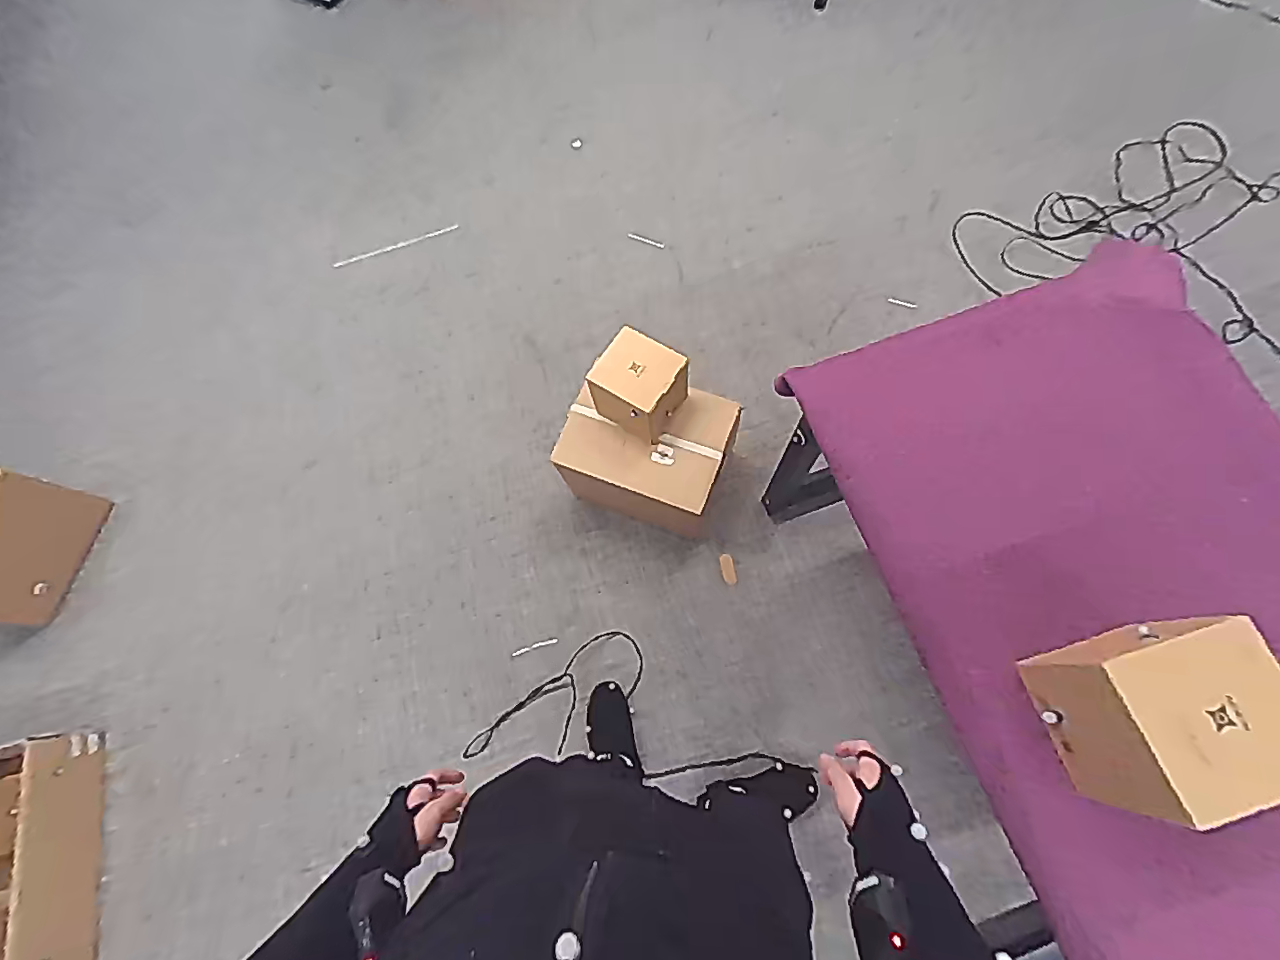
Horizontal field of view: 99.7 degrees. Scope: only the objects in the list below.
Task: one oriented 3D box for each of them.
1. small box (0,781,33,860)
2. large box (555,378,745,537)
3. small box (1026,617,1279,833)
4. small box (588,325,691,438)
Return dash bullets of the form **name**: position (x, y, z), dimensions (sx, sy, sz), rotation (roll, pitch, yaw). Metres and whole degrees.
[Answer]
- **small box**: position (-1.664, 0.864, 1.329), dimensions (0.168, 0.176, 0.179), rotation (-21, 71, -3)
- **large box**: position (0.033, -0.075, 1.481), dimensions (0.408, 0.320, 0.320), rotation (20, 75, 10)
- **small box**: position (0.602, 0.264, 0.616), dimensions (0.179, 0.176, 0.168), rotation (-17, 70, -2)
- **small box**: position (0.002, -0.224, 1.275), dimensions (0.179, 0.176, 0.168), rotation (31, 75, 13)
